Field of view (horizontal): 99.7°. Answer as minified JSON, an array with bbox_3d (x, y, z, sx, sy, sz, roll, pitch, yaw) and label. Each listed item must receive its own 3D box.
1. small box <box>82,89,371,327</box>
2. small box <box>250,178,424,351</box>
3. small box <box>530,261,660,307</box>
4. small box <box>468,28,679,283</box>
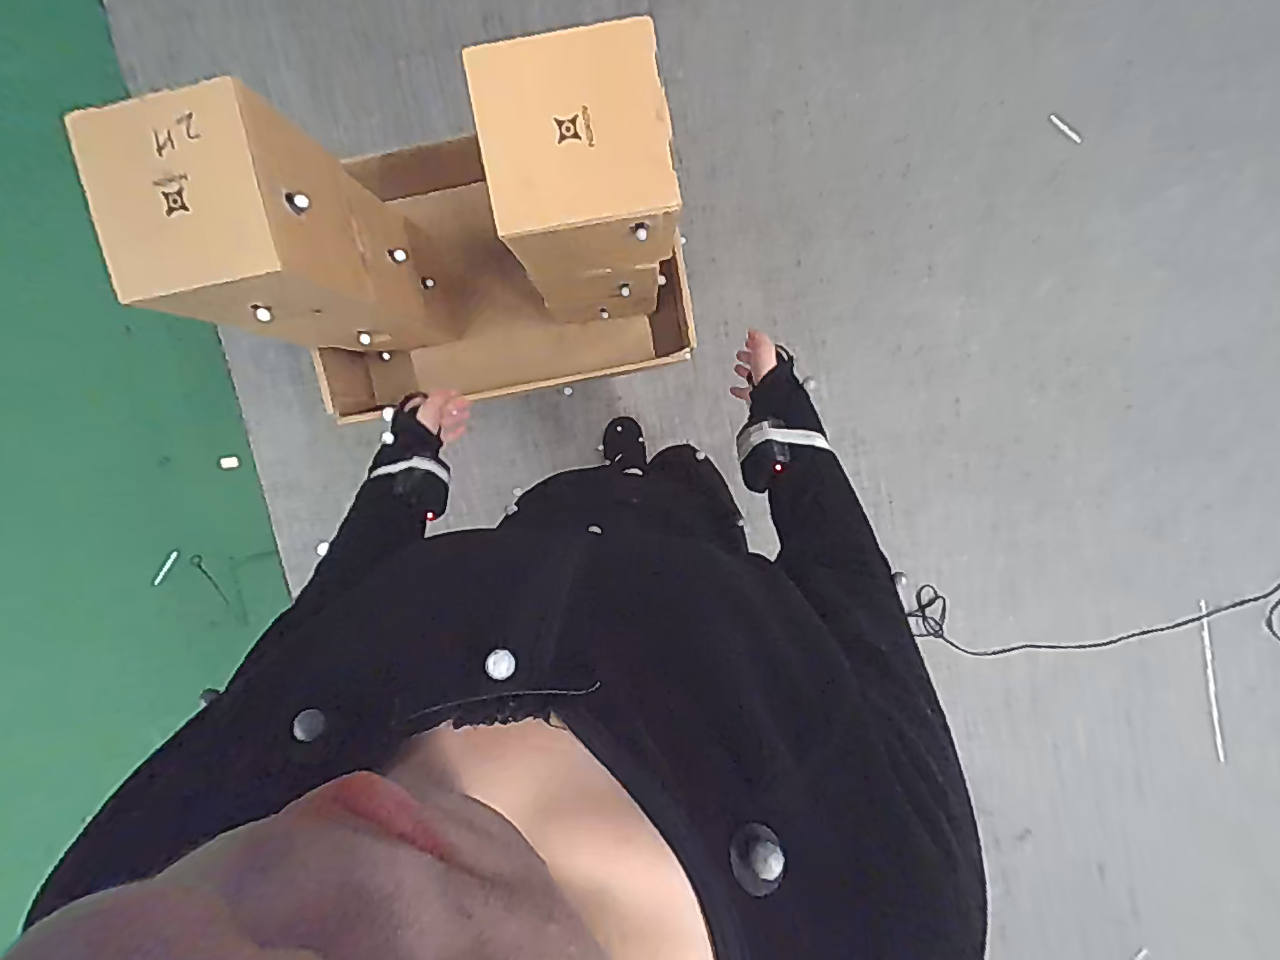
[{"bbox_3d":[-0.424,-0.272,0.589,0.168,0.176,0.179,-10,96,3],"label":"small box"},{"bbox_3d":[-0.423,-0.286,0.755,0.179,0.176,0.168,-12,95,2],"label":"small box"},{"bbox_3d":[-0.059,-0.341,0.737,0.168,0.176,0.179,-5,95,1],"label":"small box"},{"bbox_3d":[-0.060,-0.323,0.576,0.179,0.176,0.168,-9,96,0],"label":"small box"}]
